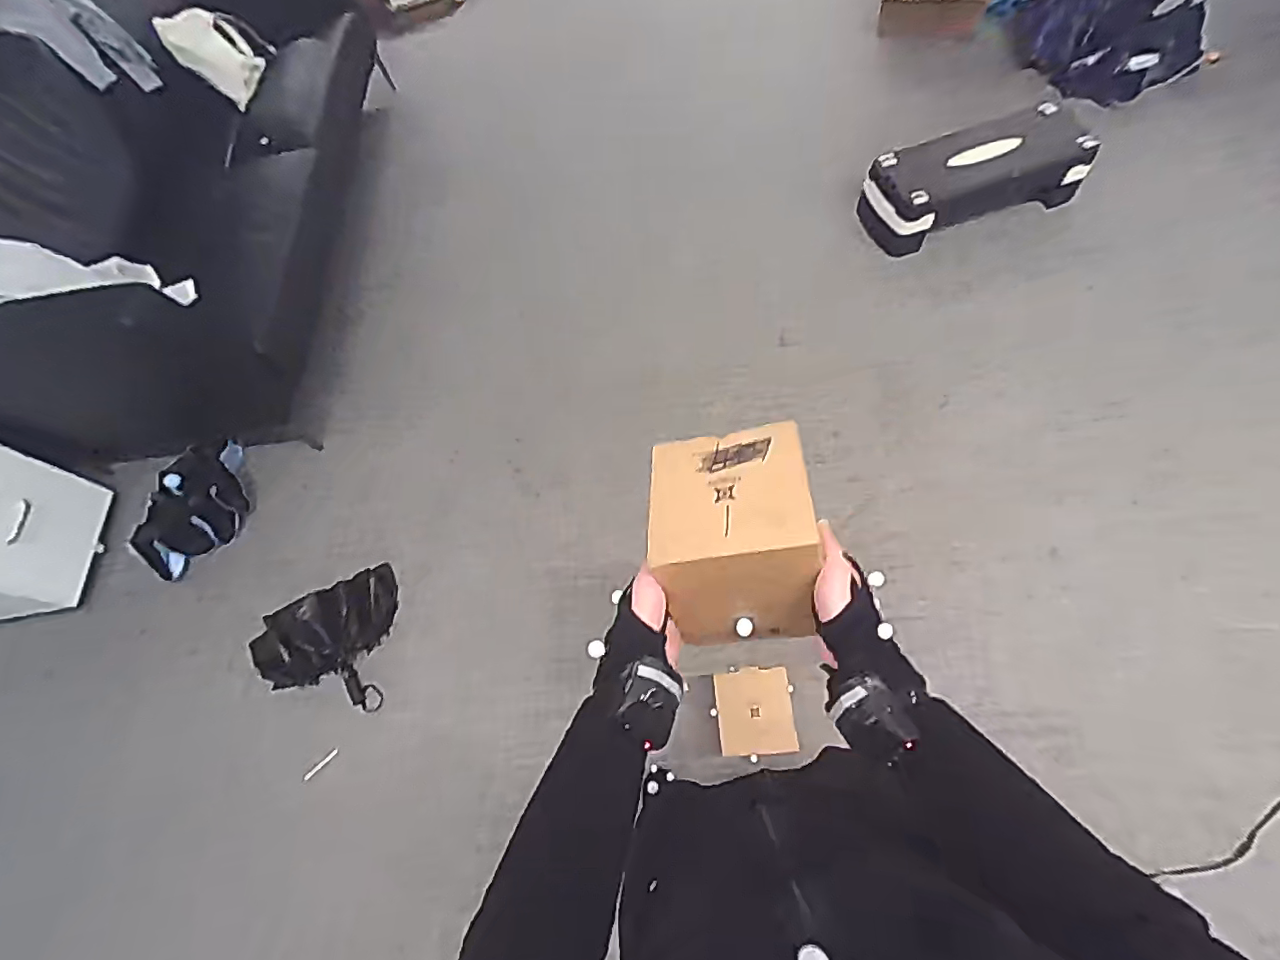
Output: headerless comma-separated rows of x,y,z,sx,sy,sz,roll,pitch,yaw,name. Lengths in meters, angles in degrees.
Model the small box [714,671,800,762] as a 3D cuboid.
0.265,0.551,1.259,0.168,0.176,0.179,-8,65,6,small box
